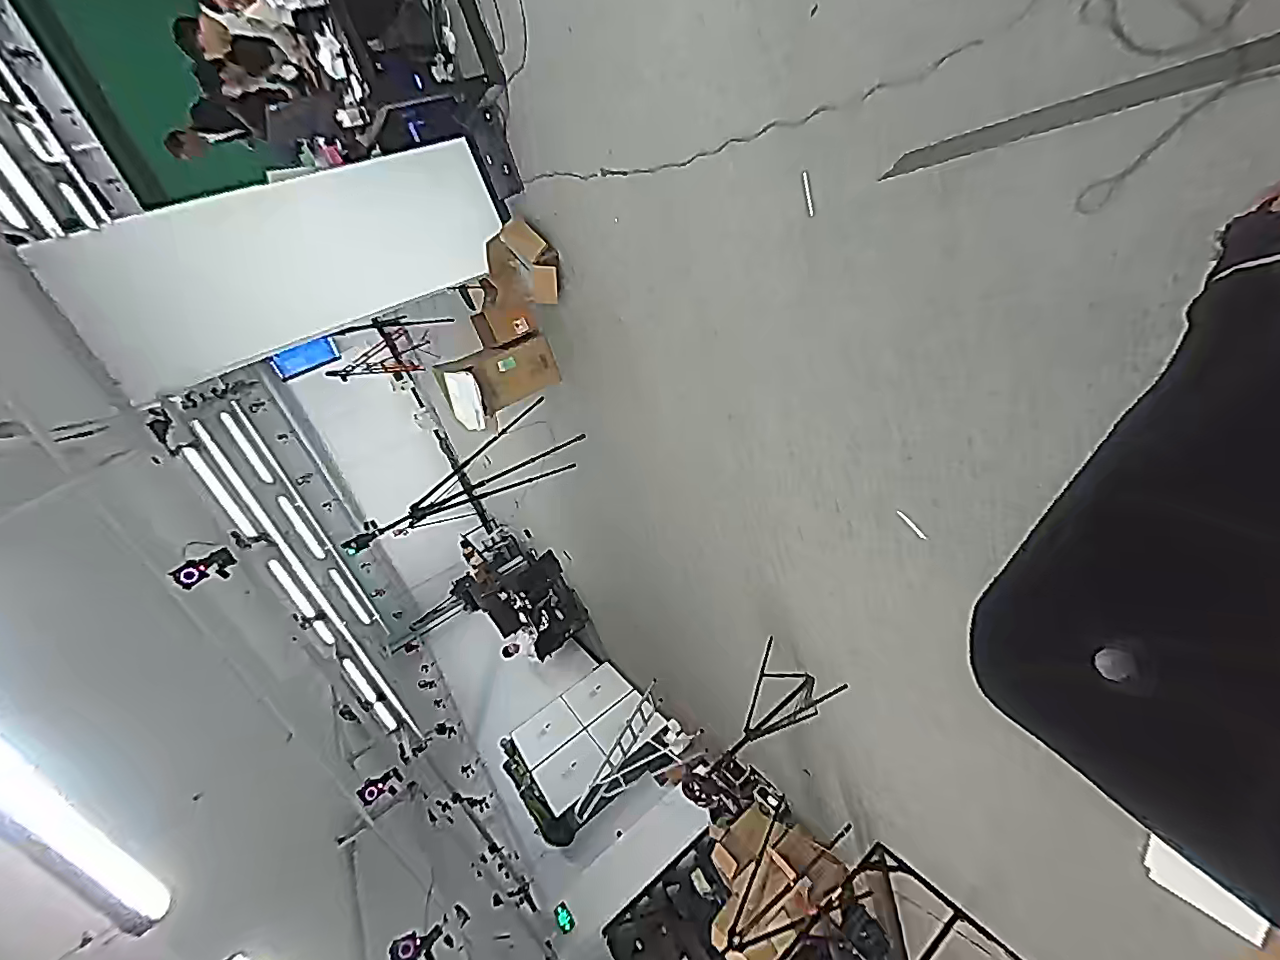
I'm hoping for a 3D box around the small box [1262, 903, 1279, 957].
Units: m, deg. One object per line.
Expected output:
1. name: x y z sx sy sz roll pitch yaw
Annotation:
1. small box: 1.278 0.886 0.975 0.179 0.176 0.168 15 132 60
